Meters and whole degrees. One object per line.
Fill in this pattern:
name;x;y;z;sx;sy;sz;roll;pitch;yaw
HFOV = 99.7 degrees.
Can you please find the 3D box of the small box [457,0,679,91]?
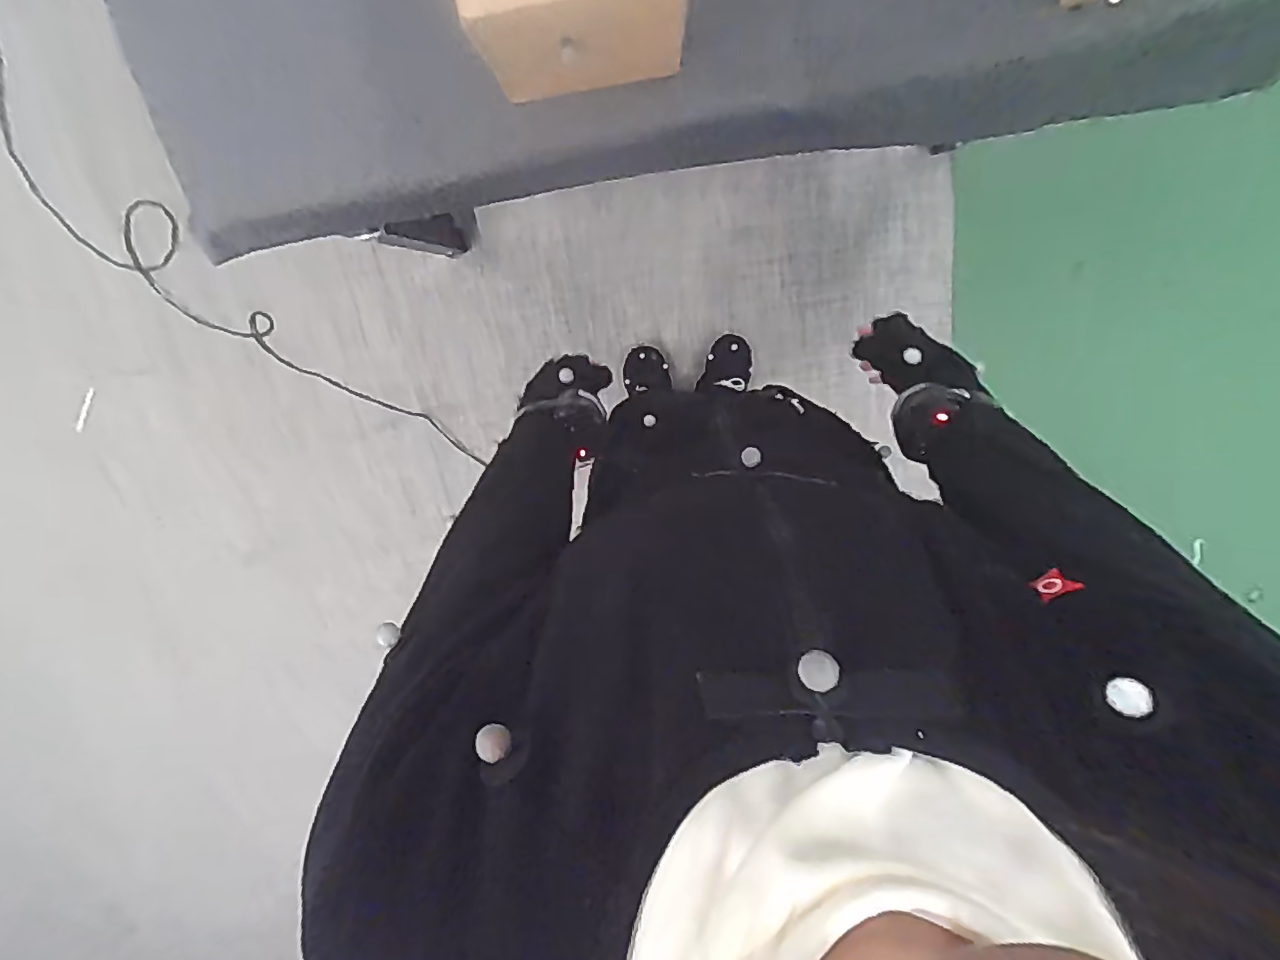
small box;-0.060;-0.464;0.457;0.179;0.176;0.168;-8;107;4
